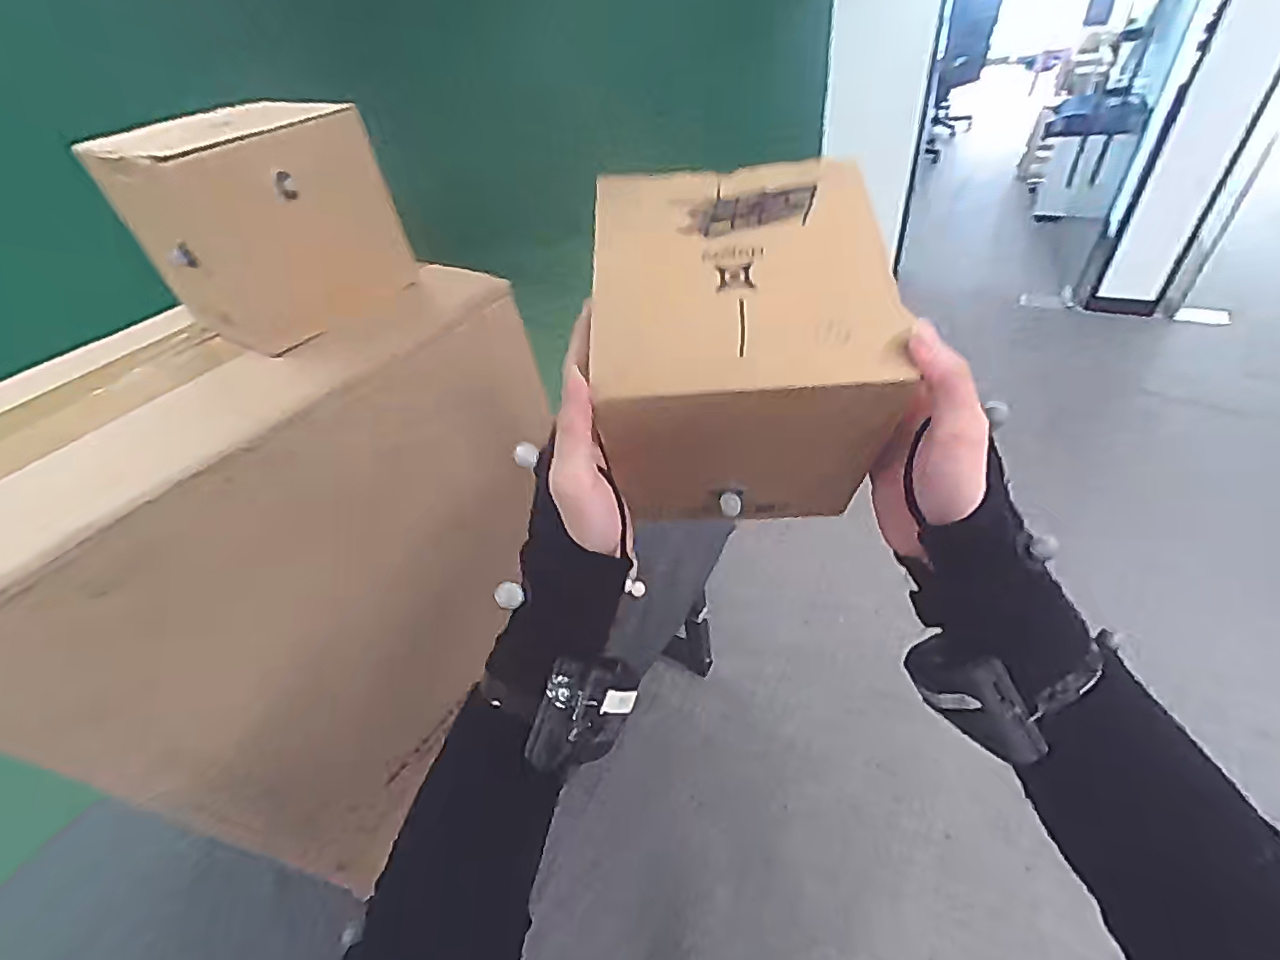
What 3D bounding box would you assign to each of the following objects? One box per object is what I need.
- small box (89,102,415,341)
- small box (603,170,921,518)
[{"bbox_3d":[-0.362,-0.259,0.537,0.168,0.176,0.179,23,49,26],"label":"small box"},{"bbox_3d":[0.071,-0.086,0.388,0.168,0.176,0.179,-2,62,6],"label":"small box"}]
